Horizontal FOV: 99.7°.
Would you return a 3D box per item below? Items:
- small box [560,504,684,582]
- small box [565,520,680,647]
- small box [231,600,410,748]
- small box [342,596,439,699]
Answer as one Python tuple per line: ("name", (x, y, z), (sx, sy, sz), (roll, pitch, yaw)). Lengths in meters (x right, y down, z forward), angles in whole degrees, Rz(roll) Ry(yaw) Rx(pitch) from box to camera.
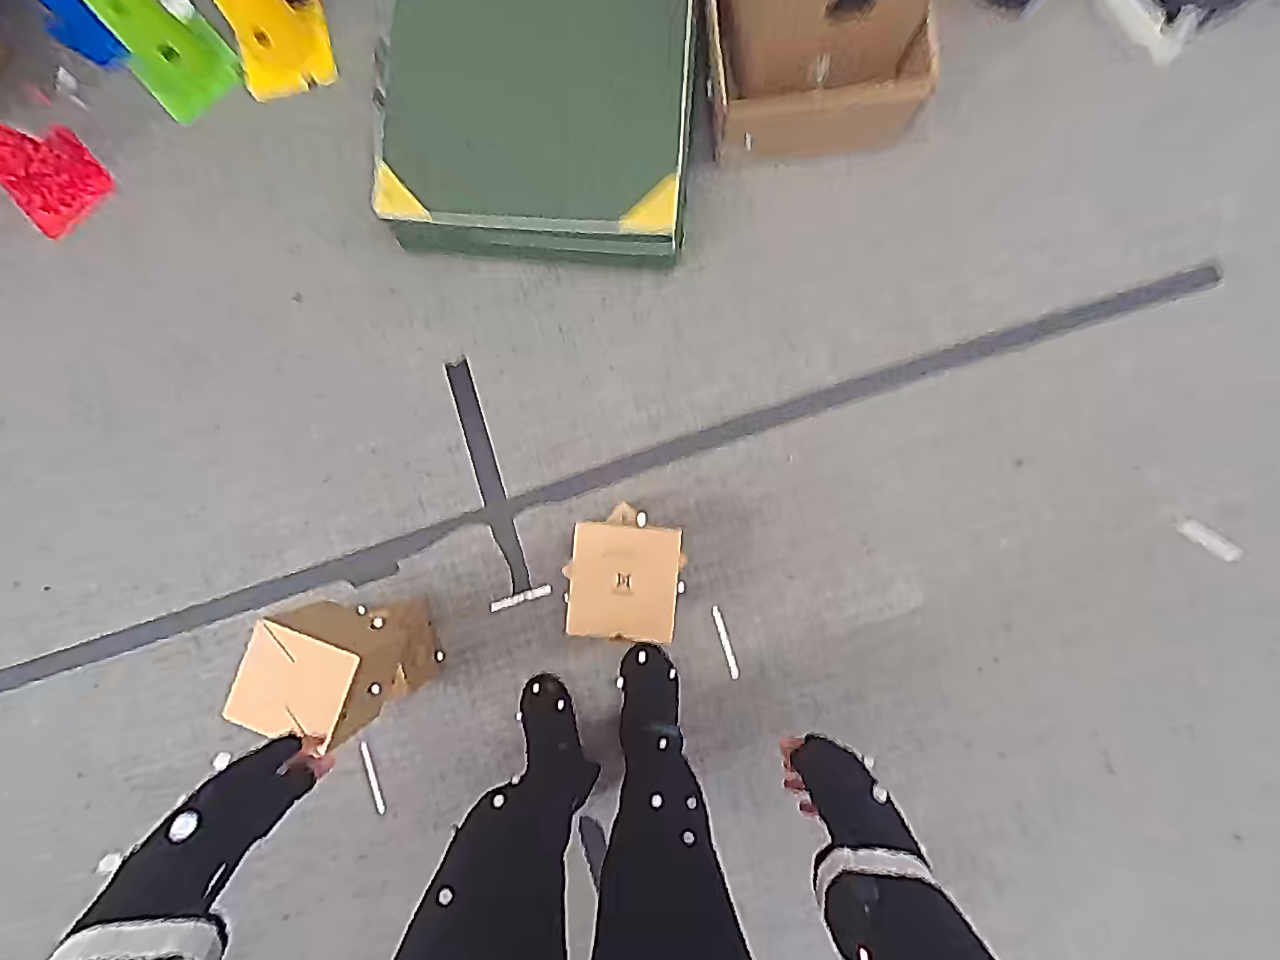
("small box", (-0.030, 0.164, 1.081), (0.168, 0.176, 0.179), (43, 90, 1))
("small box", (-0.026, 0.166, 0.917), (0.168, 0.176, 0.179), (6, 87, 0))
("small box", (-0.534, 0.322, 0.920), (0.179, 0.176, 0.168), (20, 88, 3))
("small box", (-0.525, 0.342, 1.087), (0.179, 0.176, 0.168), (-15, 87, 2))
